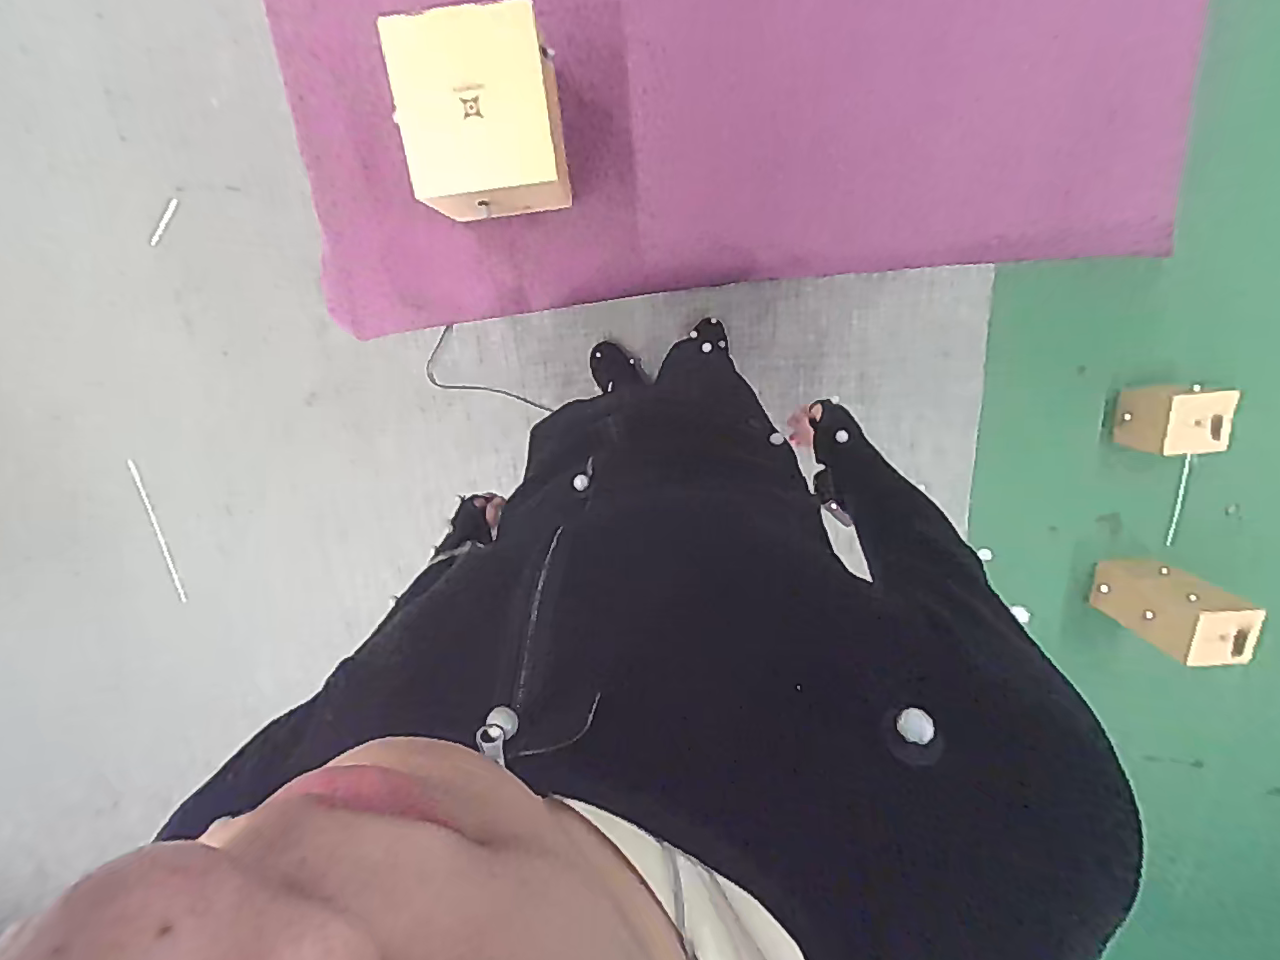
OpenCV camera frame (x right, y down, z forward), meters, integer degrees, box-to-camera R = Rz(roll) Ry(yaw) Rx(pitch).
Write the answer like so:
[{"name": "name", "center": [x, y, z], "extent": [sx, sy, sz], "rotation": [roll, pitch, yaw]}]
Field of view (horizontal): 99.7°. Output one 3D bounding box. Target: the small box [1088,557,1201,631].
[{"name": "small box", "center": [1.561, 0.349, 1.682], "extent": [0.179, 0.176, 0.168], "rotation": [-3, 107, 0]}]

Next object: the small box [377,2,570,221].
[{"name": "small box", "center": [-0.186, -0.429, 0.665], "extent": [0.168, 0.176, 0.179], "rotation": [-7, 106, 1]}]

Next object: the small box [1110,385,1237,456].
[{"name": "small box", "center": [1.493, -0.173, 1.525], "extent": [0.179, 0.176, 0.168], "rotation": [-5, 106, 2]}]
